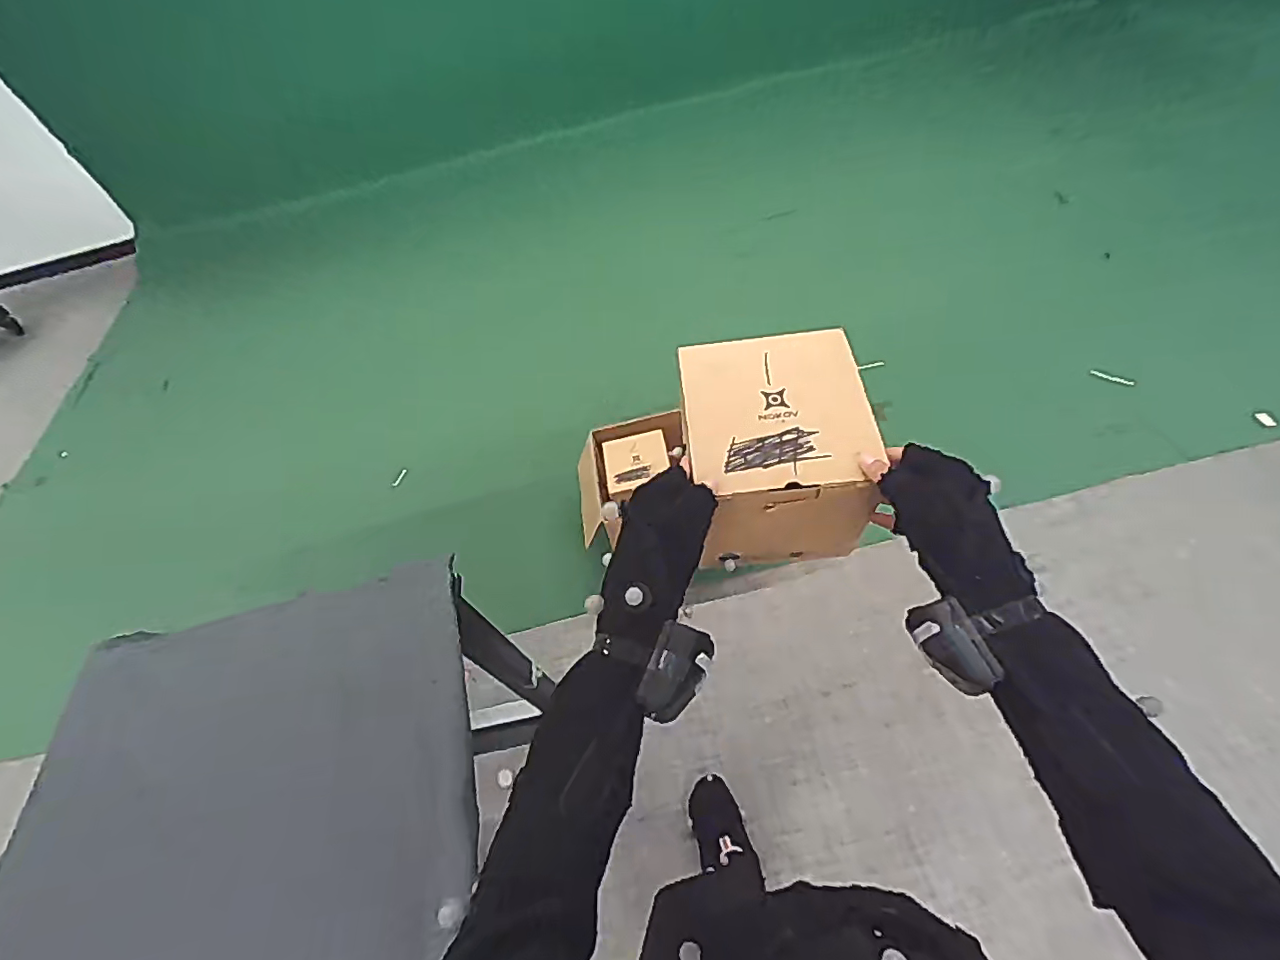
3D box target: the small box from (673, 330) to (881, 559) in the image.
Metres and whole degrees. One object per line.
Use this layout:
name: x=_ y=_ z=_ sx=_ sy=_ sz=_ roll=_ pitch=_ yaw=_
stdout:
small box: x=0.128 y=-0.026 z=0.565 sx=0.168 sy=0.176 sz=0.179 roll=-6 pitch=59 yaw=4
